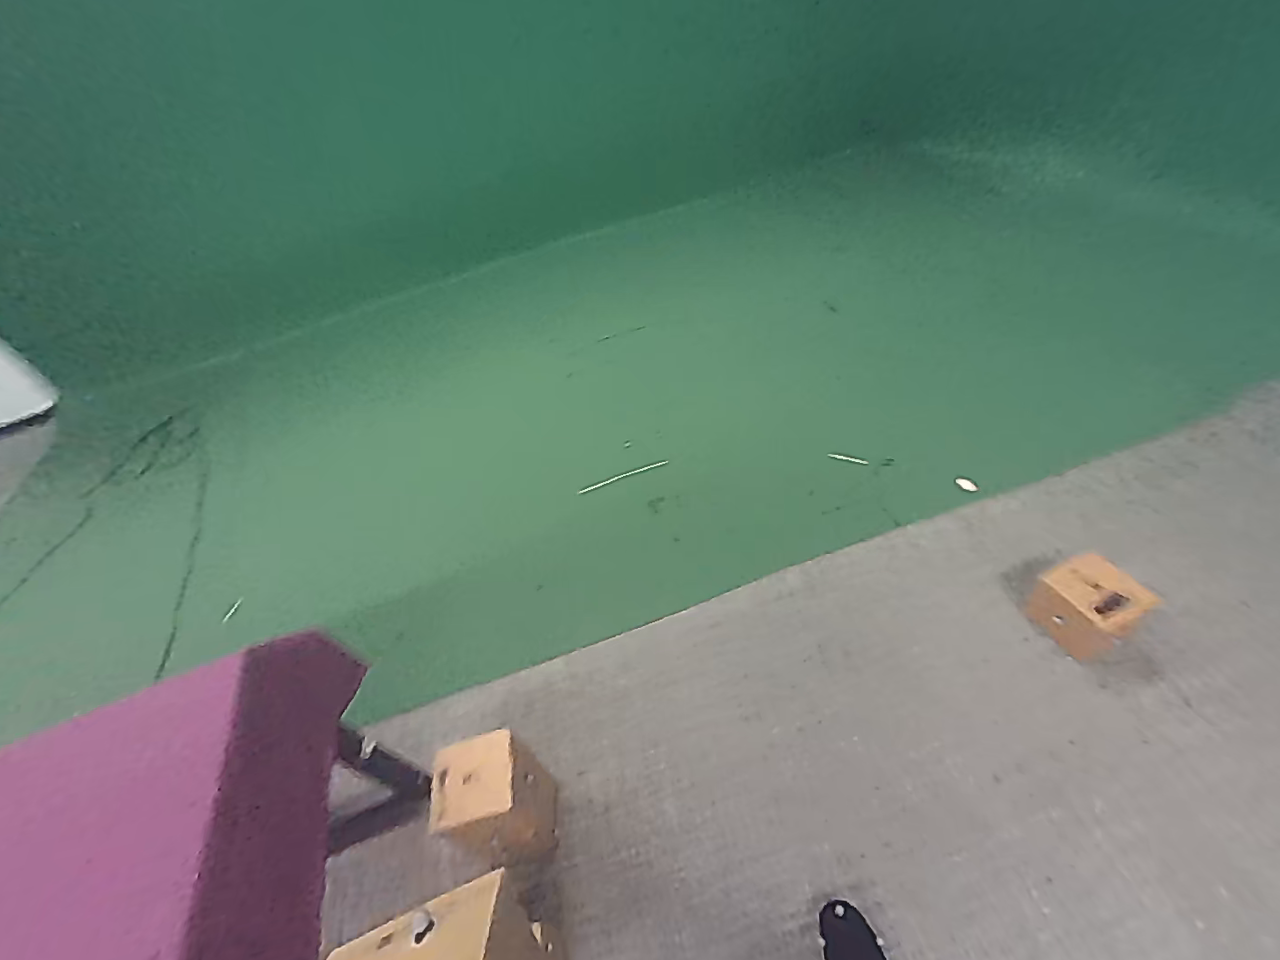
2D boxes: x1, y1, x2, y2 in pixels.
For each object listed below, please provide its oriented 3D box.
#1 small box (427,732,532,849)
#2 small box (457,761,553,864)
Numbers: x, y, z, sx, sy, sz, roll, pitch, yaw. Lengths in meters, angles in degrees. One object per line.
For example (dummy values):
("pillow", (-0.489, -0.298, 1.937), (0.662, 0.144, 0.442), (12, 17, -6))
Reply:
("small box", (-0.345, 0.689, 1.196), (0.179, 0.176, 0.168), (-16, 44, 0))
("small box", (-0.316, 0.806, 1.309), (0.179, 0.176, 0.168), (-14, 44, 4))
